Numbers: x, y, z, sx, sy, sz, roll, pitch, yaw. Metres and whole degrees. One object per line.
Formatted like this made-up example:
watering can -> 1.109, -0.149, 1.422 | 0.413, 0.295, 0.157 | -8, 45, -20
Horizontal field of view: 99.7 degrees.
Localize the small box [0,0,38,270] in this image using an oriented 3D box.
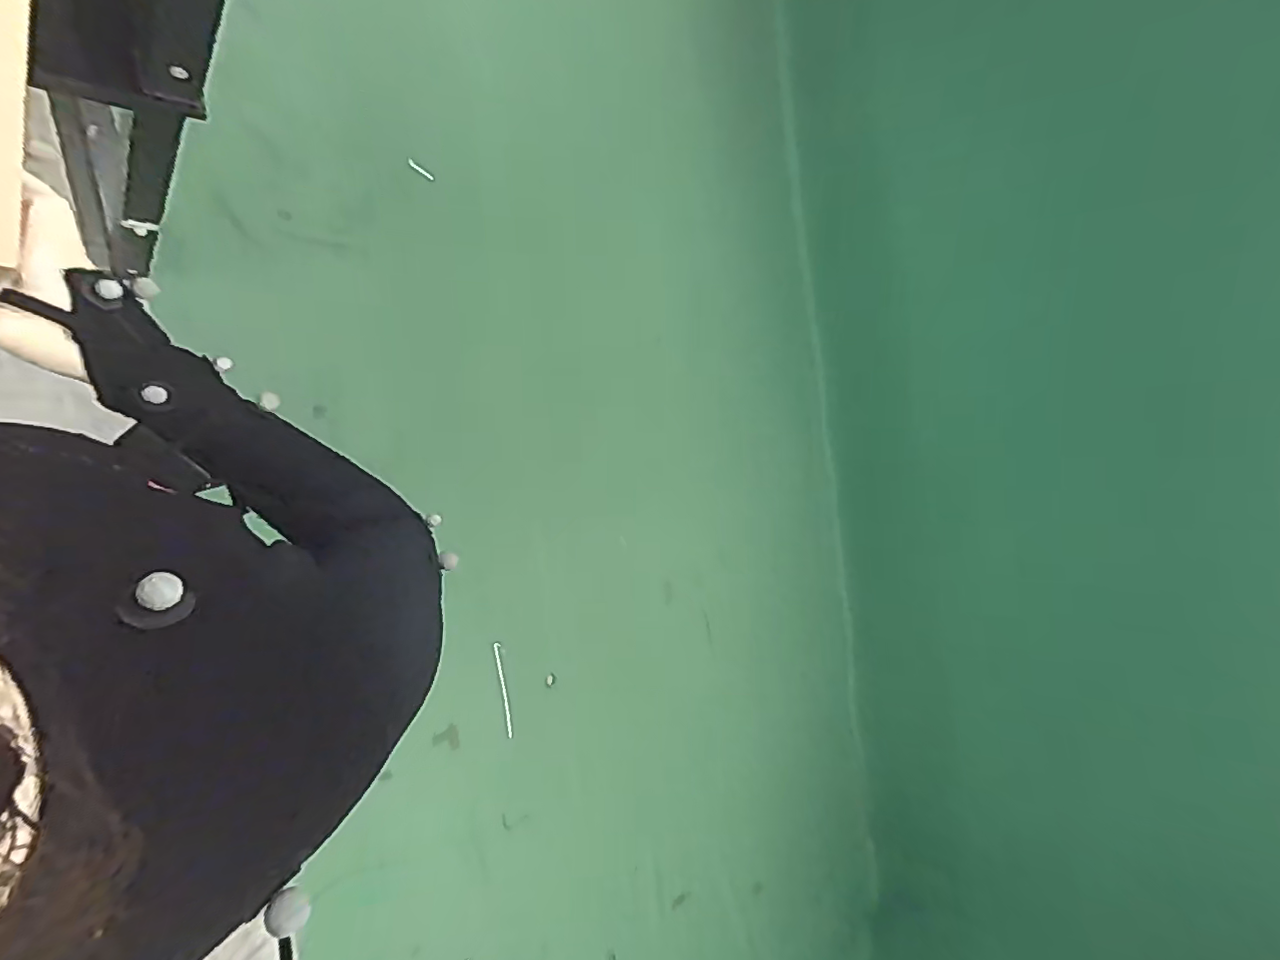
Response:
small box -> -0.424, -0.204, 0.257 | 0.168, 0.176, 0.179 | 1, 95, -56
